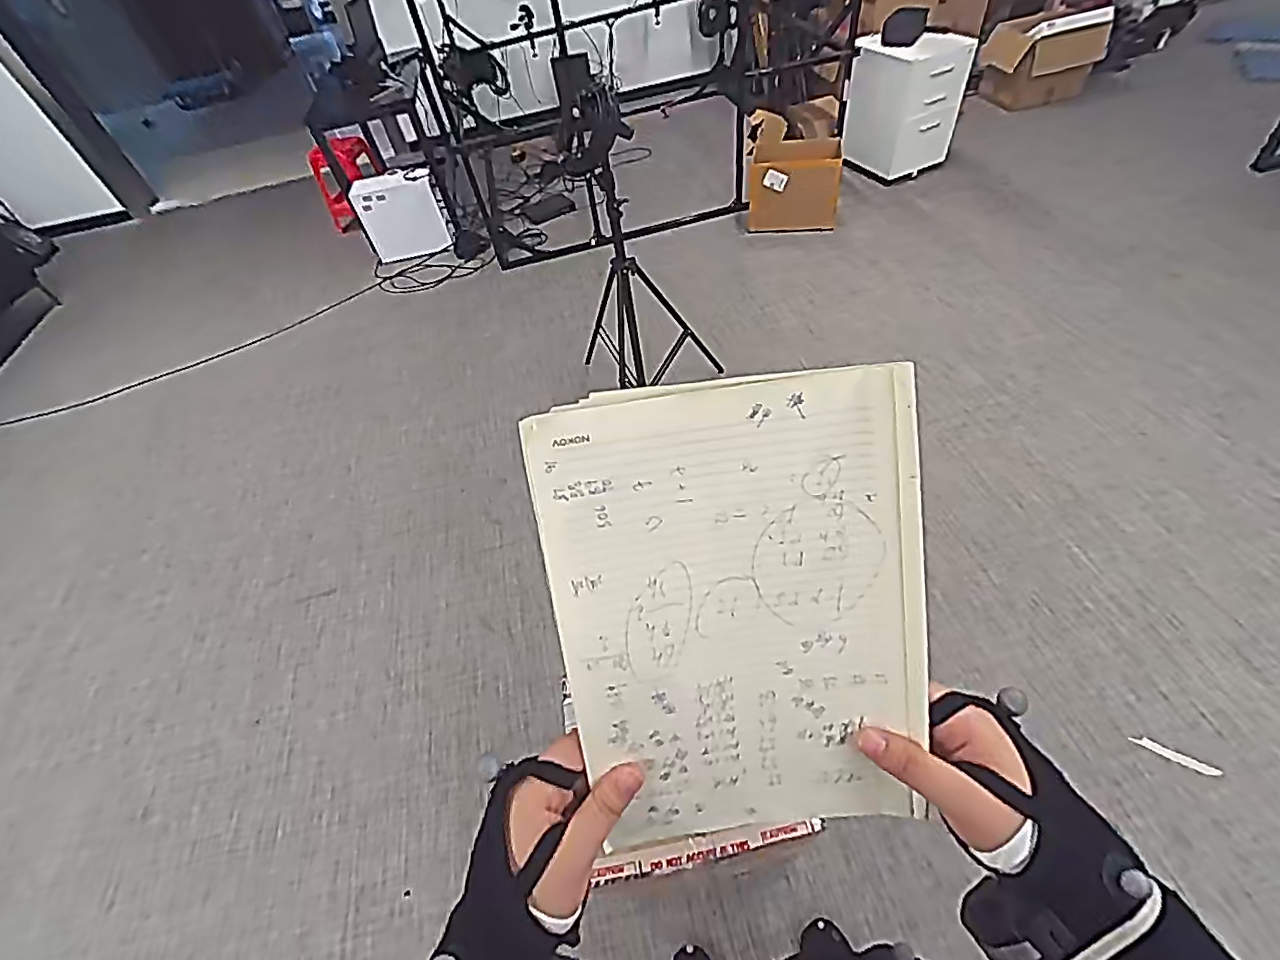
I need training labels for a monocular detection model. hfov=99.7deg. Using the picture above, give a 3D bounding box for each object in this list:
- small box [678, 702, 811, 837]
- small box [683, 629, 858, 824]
[{"bbox_3d":[0.165,0.428,0.836,0.179,0.176,0.168,-15,51,-5],"label":"small box"},{"bbox_3d":[0.154,0.324,0.709,0.168,0.176,0.179,-12,52,-3],"label":"small box"}]
